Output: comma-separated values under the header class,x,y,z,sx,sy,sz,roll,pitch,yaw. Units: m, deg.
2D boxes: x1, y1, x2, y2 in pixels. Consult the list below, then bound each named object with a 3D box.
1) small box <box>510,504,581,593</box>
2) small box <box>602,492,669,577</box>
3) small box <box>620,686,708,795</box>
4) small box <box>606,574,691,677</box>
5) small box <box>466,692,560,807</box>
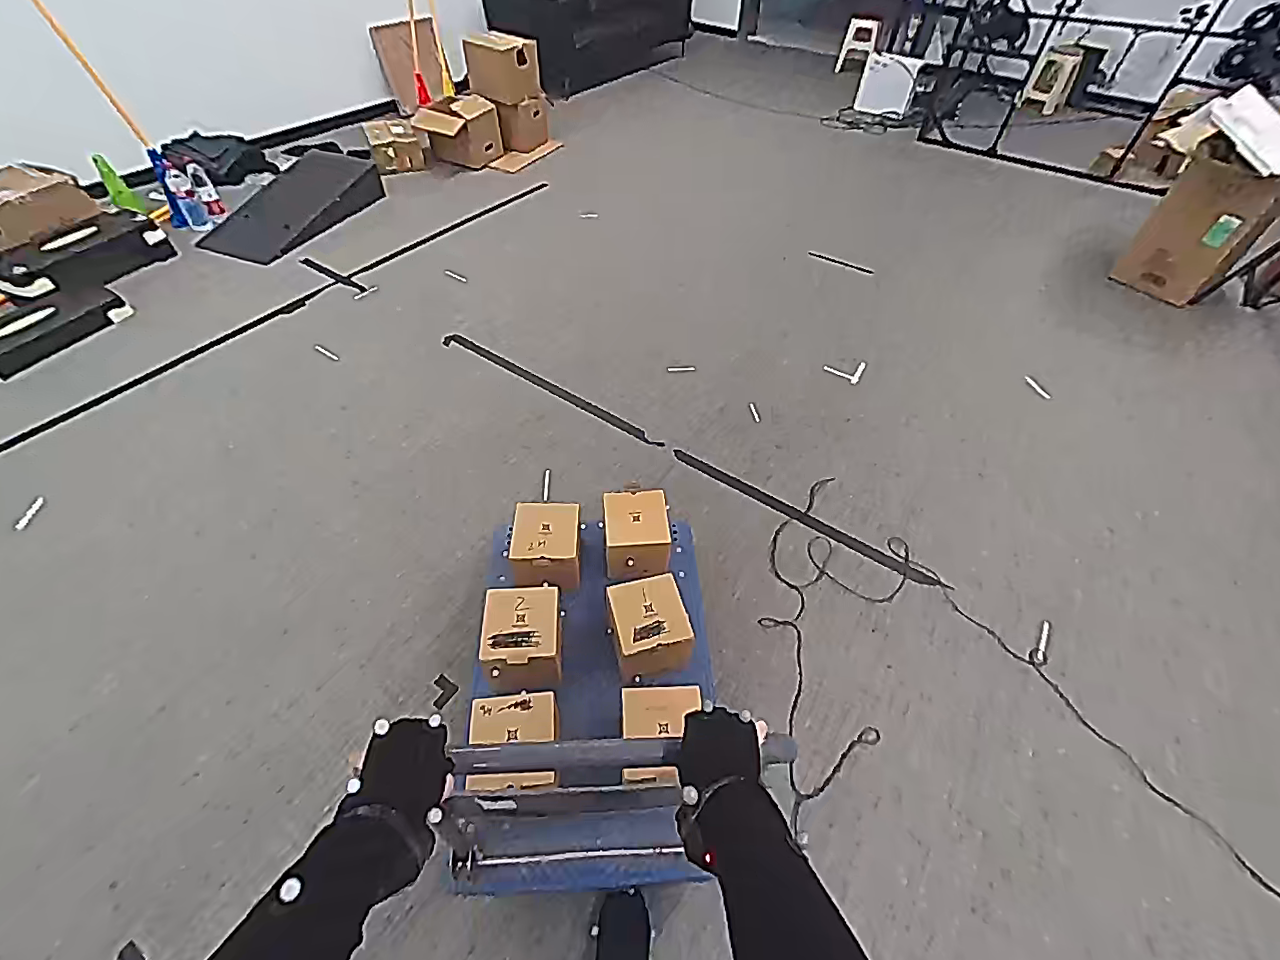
class,x,y,z,sx,sy,sz,roll,pitch,yaw
small box,-0.245,0.184,1.444,0.168,0.176,0.179,0,50,-3
small box,-0.016,0.155,1.486,0.168,0.176,0.179,-3,49,-6
small box,0.044,0.553,1.141,0.168,0.176,0.179,0,48,-4
small box,0.016,0.359,1.308,0.168,0.176,0.179,-10,49,-12
small box,-0.253,0.560,1.115,0.168,0.176,0.179,-3,49,-7
